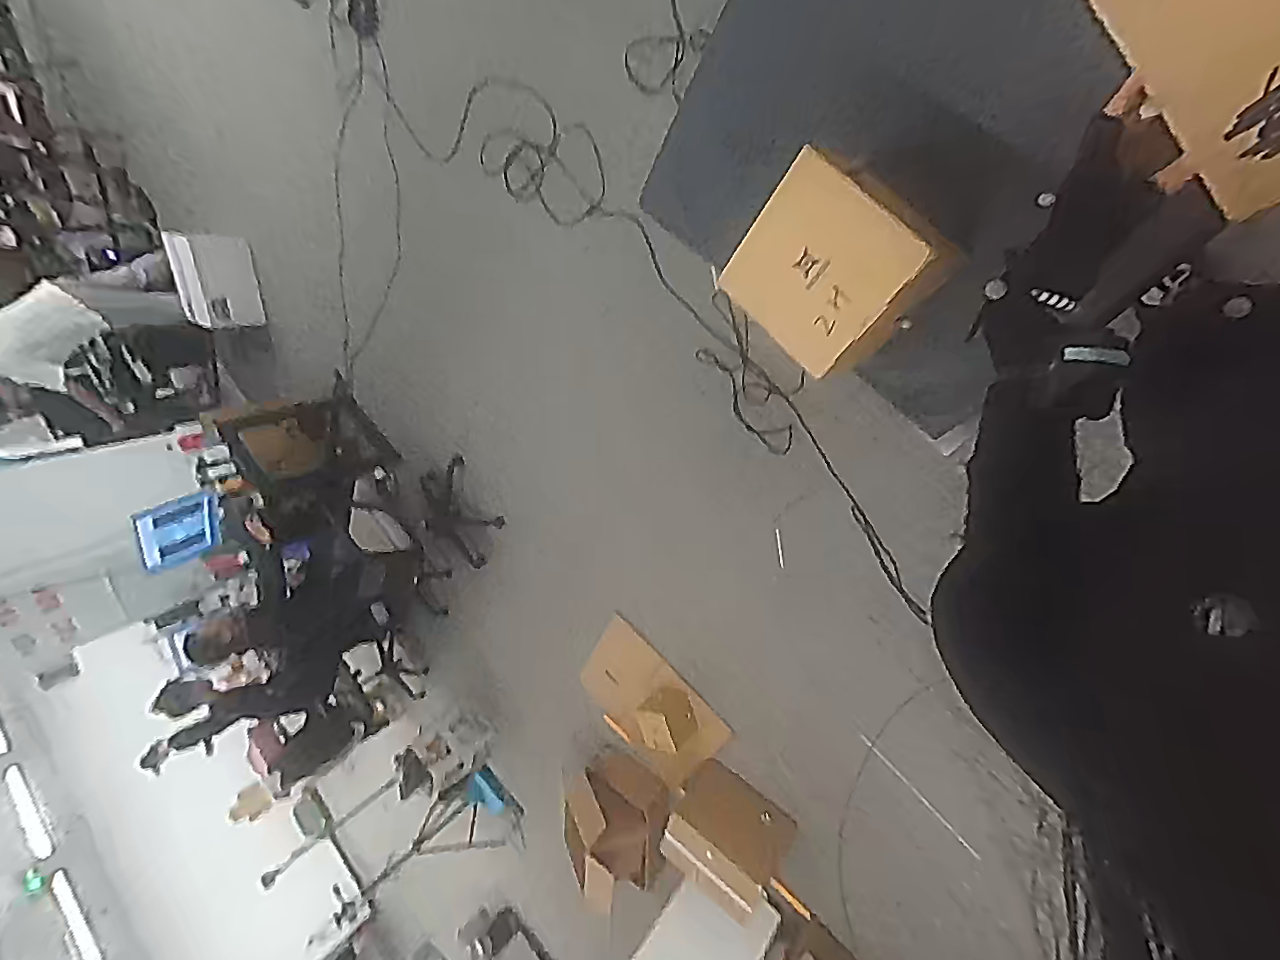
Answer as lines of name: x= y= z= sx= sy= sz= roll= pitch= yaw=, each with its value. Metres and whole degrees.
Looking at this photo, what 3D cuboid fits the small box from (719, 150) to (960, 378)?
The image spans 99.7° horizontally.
small box: x=0.234 y=-0.245 z=0.636 sx=0.179 sy=0.176 sz=0.168 roll=50 pitch=132 yaw=15
